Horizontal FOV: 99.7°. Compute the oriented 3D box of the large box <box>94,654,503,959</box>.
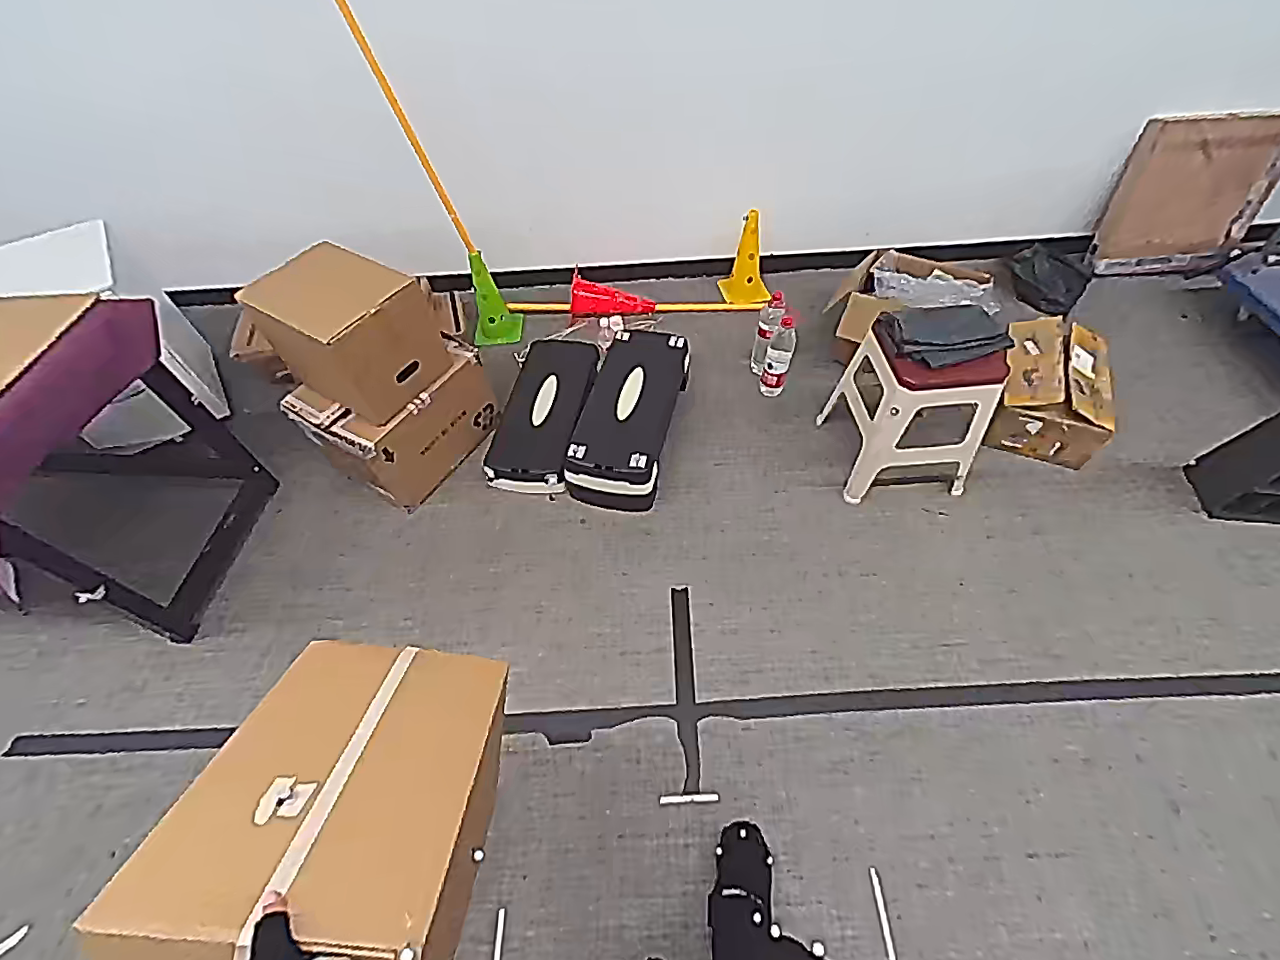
[{"bbox_3d":[-0.393,0.510,0.751,0.320,0.320,0.408,8,22,-4],"label":"large box"}]
